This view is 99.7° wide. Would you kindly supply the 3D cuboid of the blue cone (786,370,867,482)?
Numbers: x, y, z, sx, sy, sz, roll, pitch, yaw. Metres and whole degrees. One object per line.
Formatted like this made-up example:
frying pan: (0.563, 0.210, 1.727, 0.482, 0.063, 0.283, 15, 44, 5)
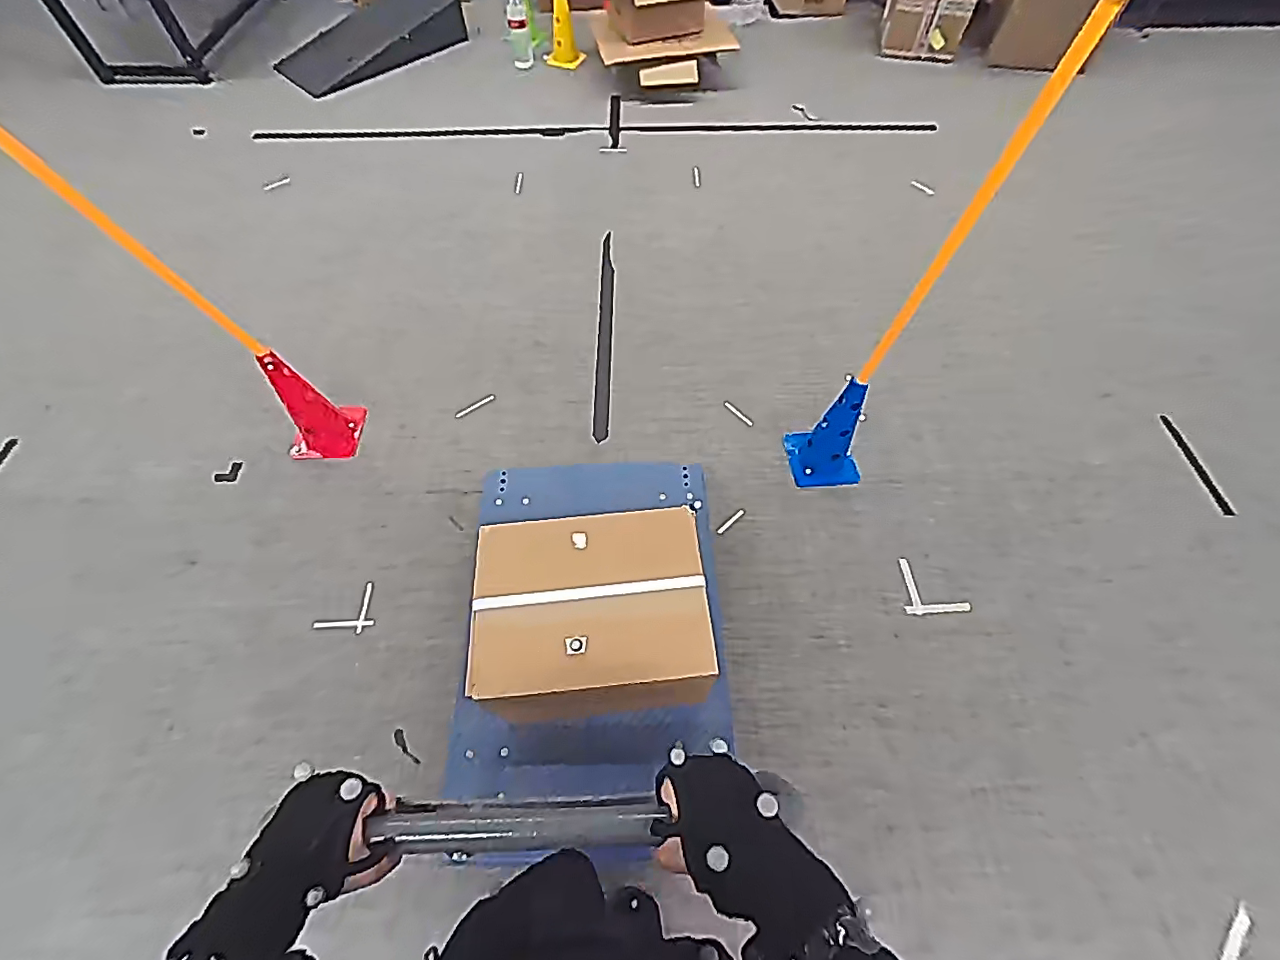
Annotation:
blue cone: (0.561, -0.162, 1.527, 0.193, 0.380, 0.192, -4, 58, -3)
